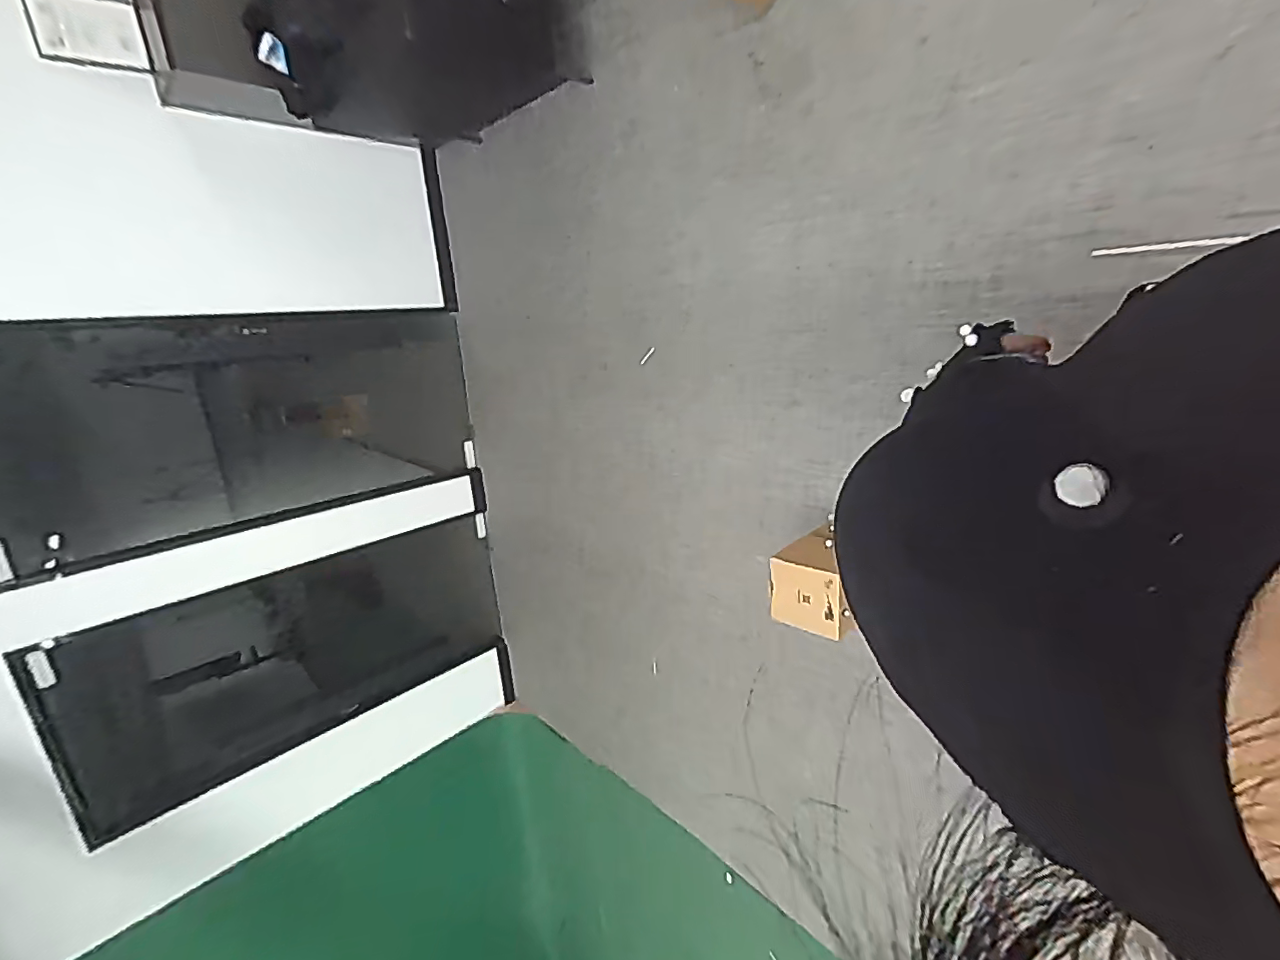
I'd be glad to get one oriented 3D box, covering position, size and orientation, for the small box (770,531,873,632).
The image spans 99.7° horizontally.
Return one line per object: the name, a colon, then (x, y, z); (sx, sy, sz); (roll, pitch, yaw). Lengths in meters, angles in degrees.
small box: (0.433, 0.233, 1.298); (0.179, 0.176, 0.168); (11, 113, 45)
